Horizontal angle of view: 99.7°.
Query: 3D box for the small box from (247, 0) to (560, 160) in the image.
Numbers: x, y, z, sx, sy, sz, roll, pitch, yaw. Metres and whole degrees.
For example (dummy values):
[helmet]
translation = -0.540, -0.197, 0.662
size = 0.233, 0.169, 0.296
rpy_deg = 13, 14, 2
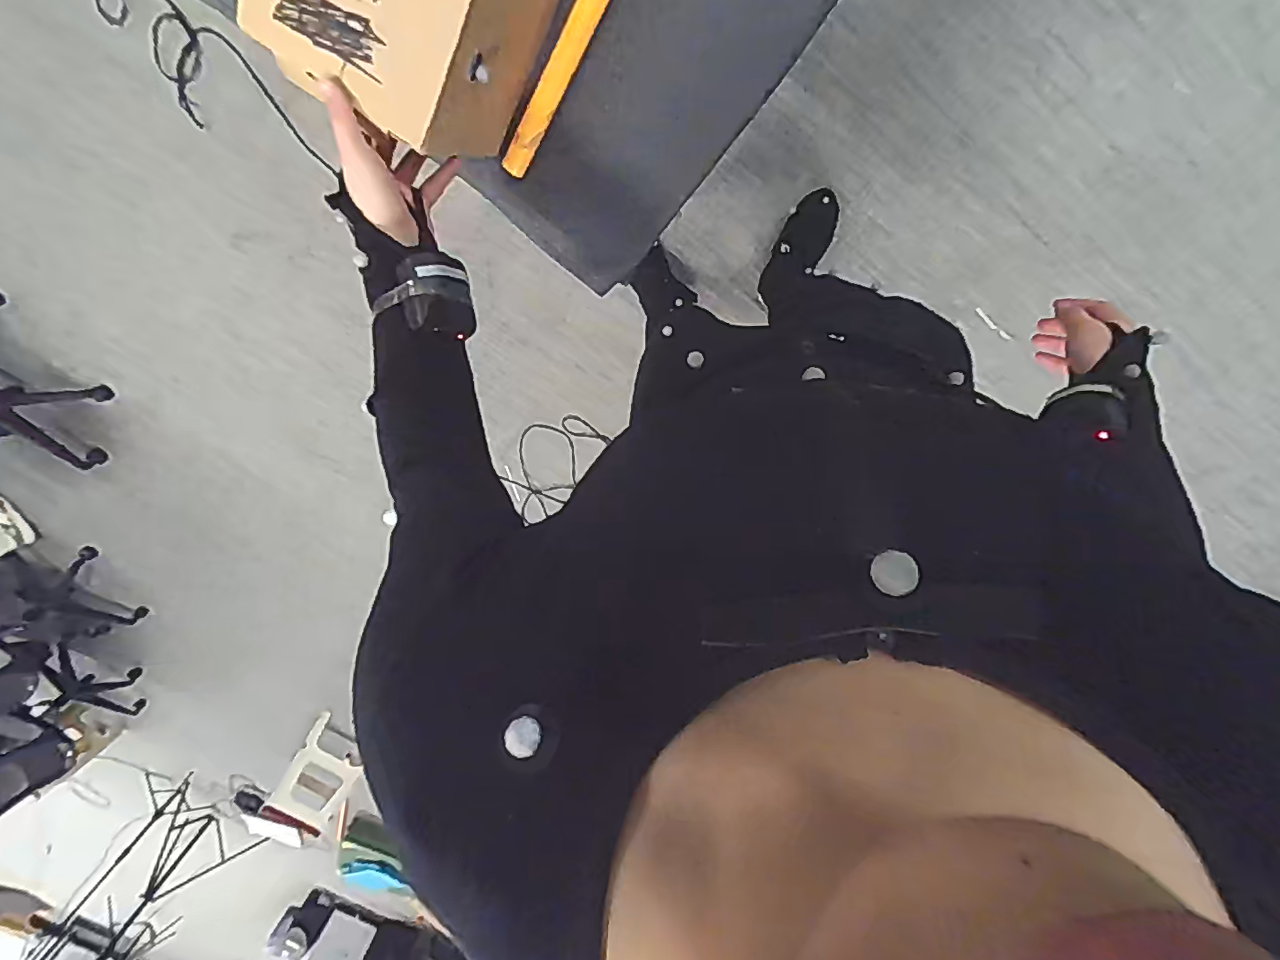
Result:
[small box]
translation = -0.189, -0.410, 0.470
size = 0.168, 0.176, 0.179
rpy_deg = 32, 120, -9
